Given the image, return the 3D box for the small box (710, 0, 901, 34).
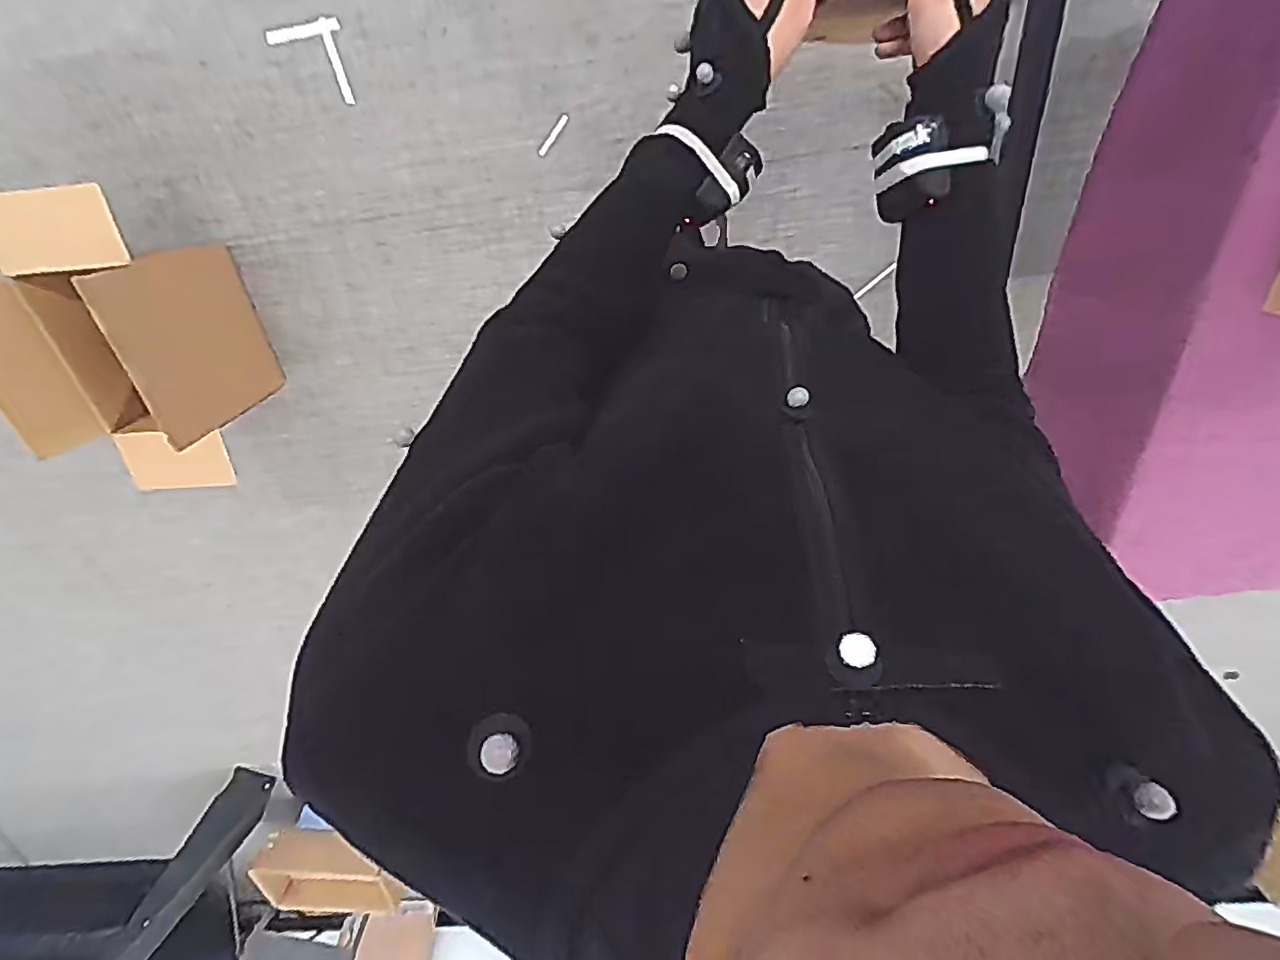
[{"bbox_3d":[0.151,-0.491,0.437,0.168,0.176,0.179,-1,115,-2],"label":"small box"}]
